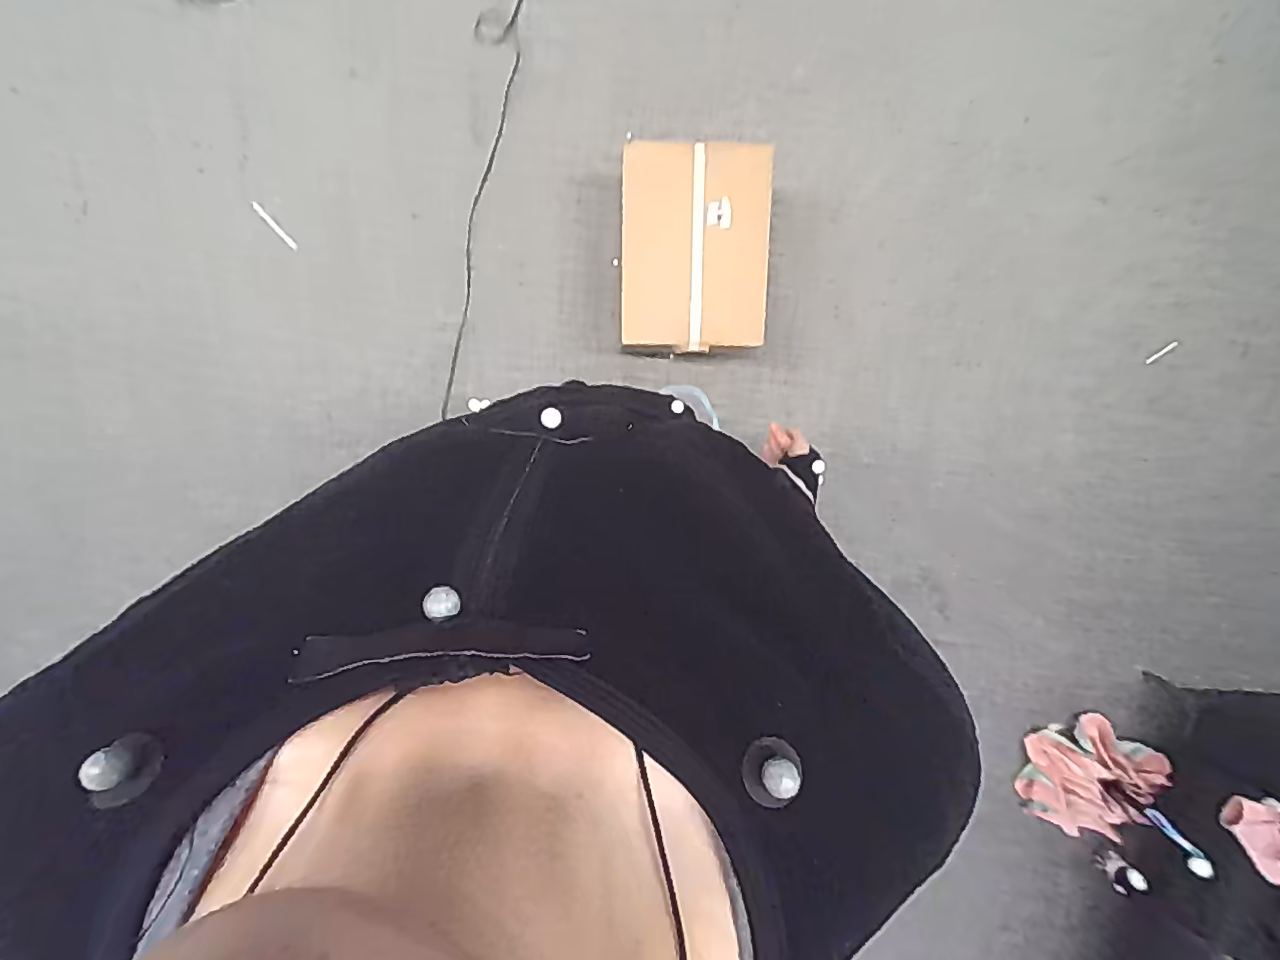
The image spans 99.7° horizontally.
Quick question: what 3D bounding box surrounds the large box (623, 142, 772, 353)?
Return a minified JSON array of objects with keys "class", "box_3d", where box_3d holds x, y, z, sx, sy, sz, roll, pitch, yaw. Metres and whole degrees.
[{"class":"large box","box_3d":[0.116,-0.517,1.286,0.320,0.320,0.408,0,99,-3]}]
